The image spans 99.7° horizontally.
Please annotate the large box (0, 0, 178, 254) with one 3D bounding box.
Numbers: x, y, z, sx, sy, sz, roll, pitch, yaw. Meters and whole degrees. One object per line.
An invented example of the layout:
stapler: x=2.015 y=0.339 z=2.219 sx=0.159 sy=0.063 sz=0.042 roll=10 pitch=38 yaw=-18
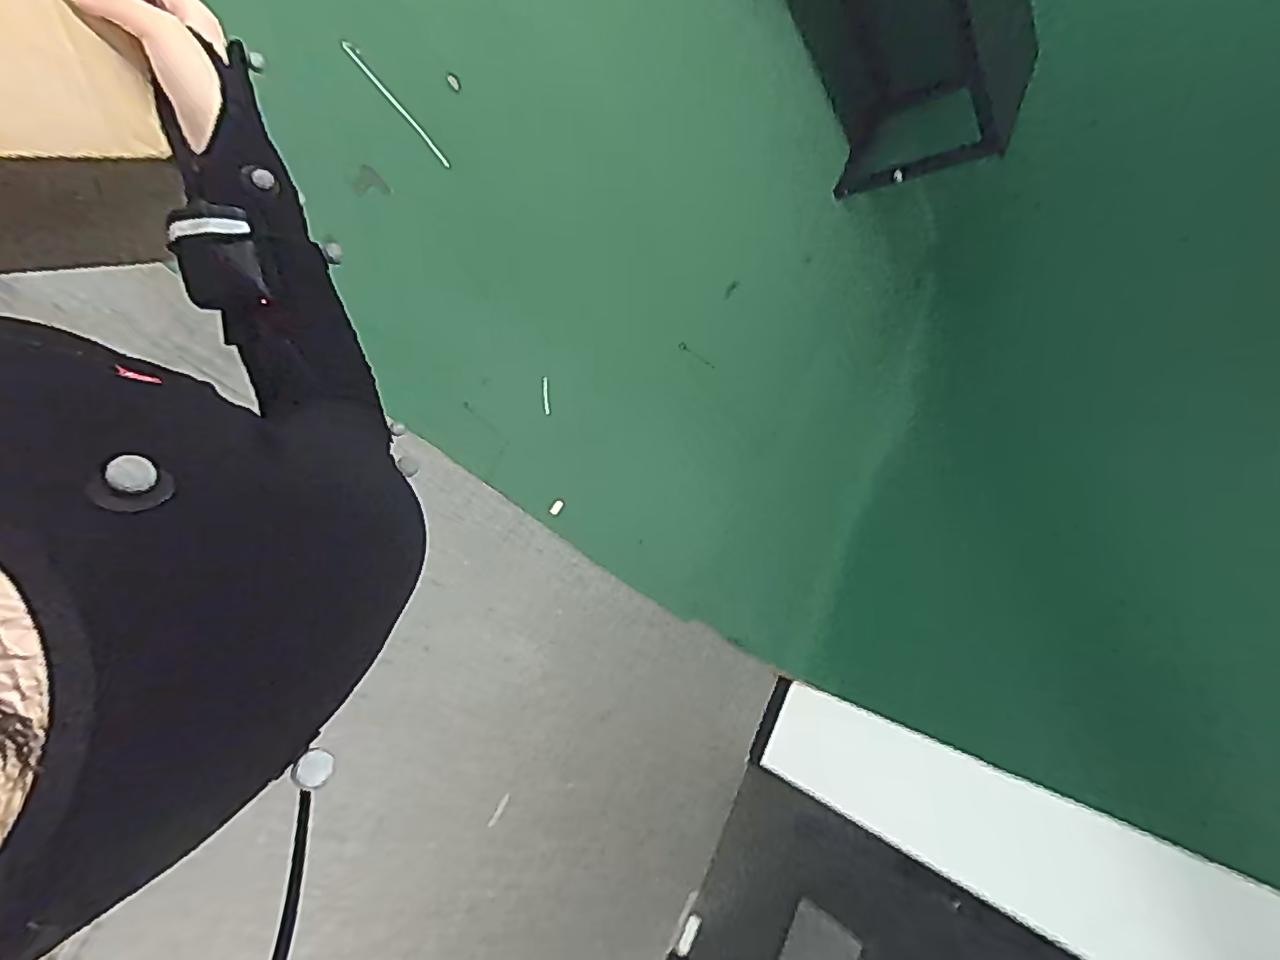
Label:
large box: x=-0.593 y=-0.326 z=0.329 sx=0.408 sy=0.320 sz=0.320 roll=-24 pitch=111 yaw=-37
